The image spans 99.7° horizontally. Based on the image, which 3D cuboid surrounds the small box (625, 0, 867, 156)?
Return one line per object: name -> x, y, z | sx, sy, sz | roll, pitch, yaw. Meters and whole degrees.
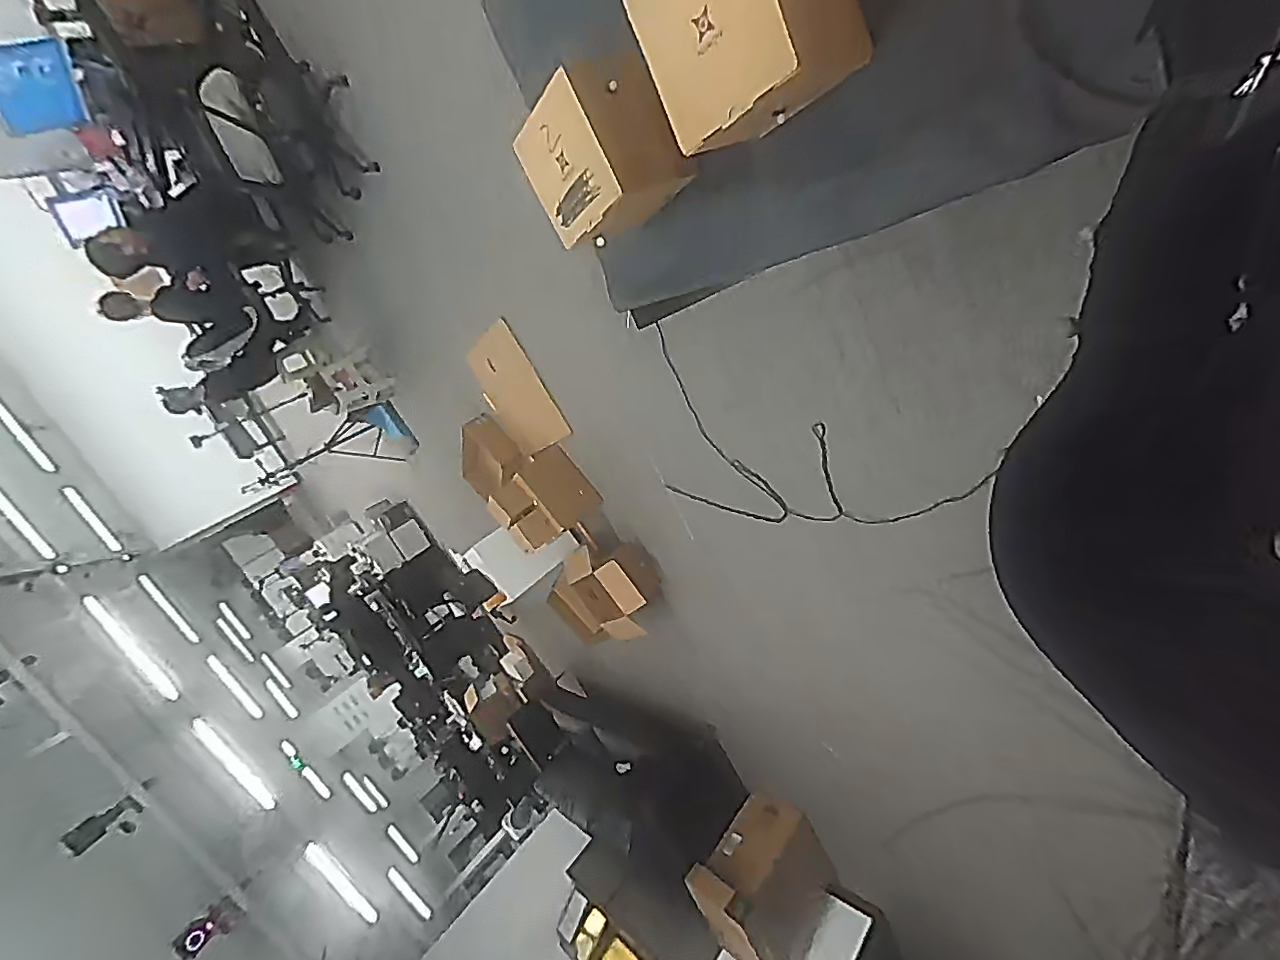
small box -> 0.121, -0.500, 0.600 | 0.168, 0.176, 0.179 | -6, 117, 51
